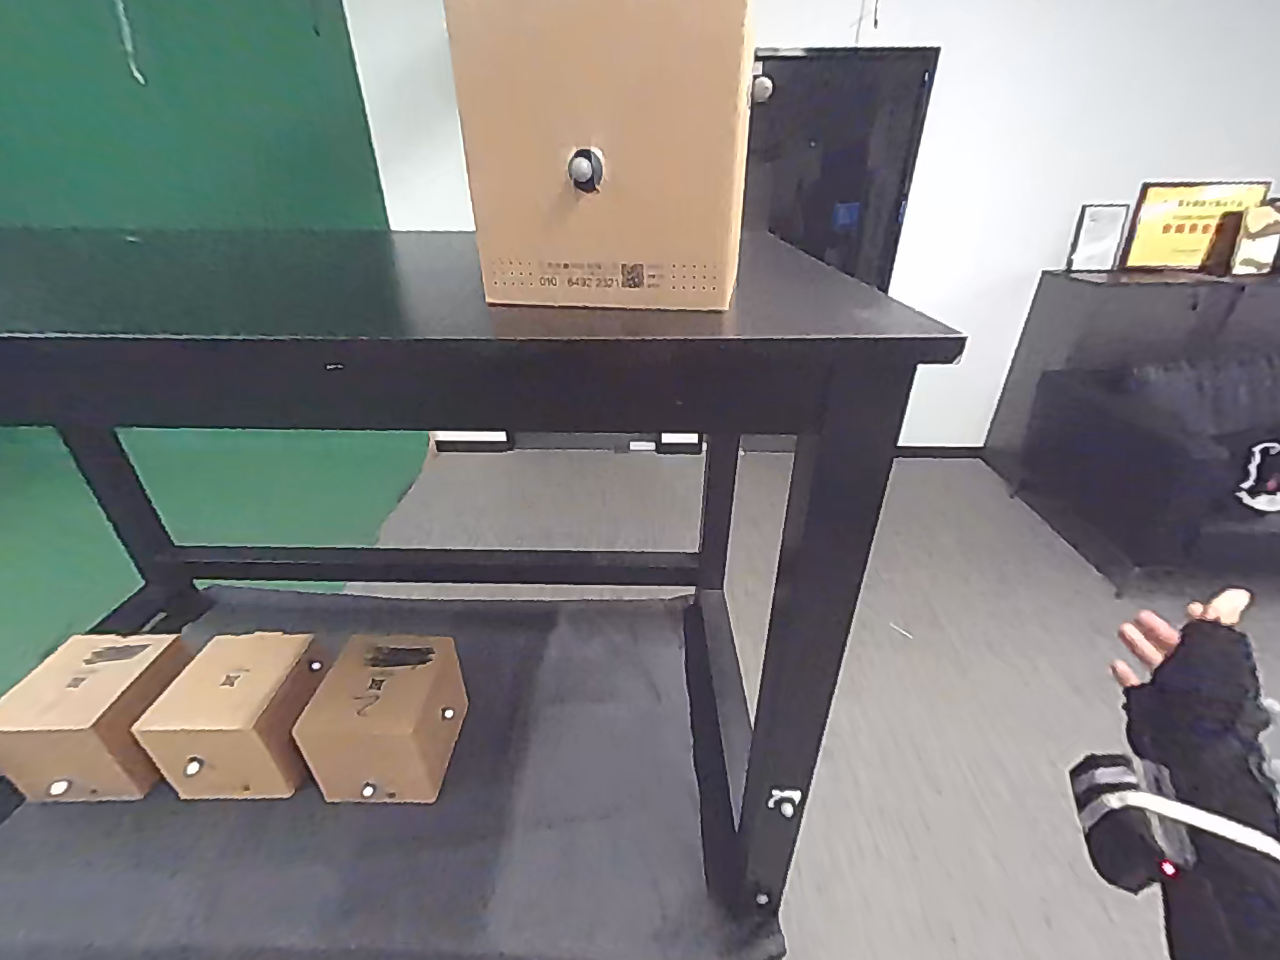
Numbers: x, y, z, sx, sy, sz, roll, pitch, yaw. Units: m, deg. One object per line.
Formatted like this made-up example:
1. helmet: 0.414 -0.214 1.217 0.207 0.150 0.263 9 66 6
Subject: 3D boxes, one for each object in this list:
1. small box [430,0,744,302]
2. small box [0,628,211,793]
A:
1. small box: -0.017 -0.230 0.388 0.168 0.176 0.179 6 30 10
2. small box: -0.820 0.354 0.844 0.168 0.176 0.179 -1 30 -1
